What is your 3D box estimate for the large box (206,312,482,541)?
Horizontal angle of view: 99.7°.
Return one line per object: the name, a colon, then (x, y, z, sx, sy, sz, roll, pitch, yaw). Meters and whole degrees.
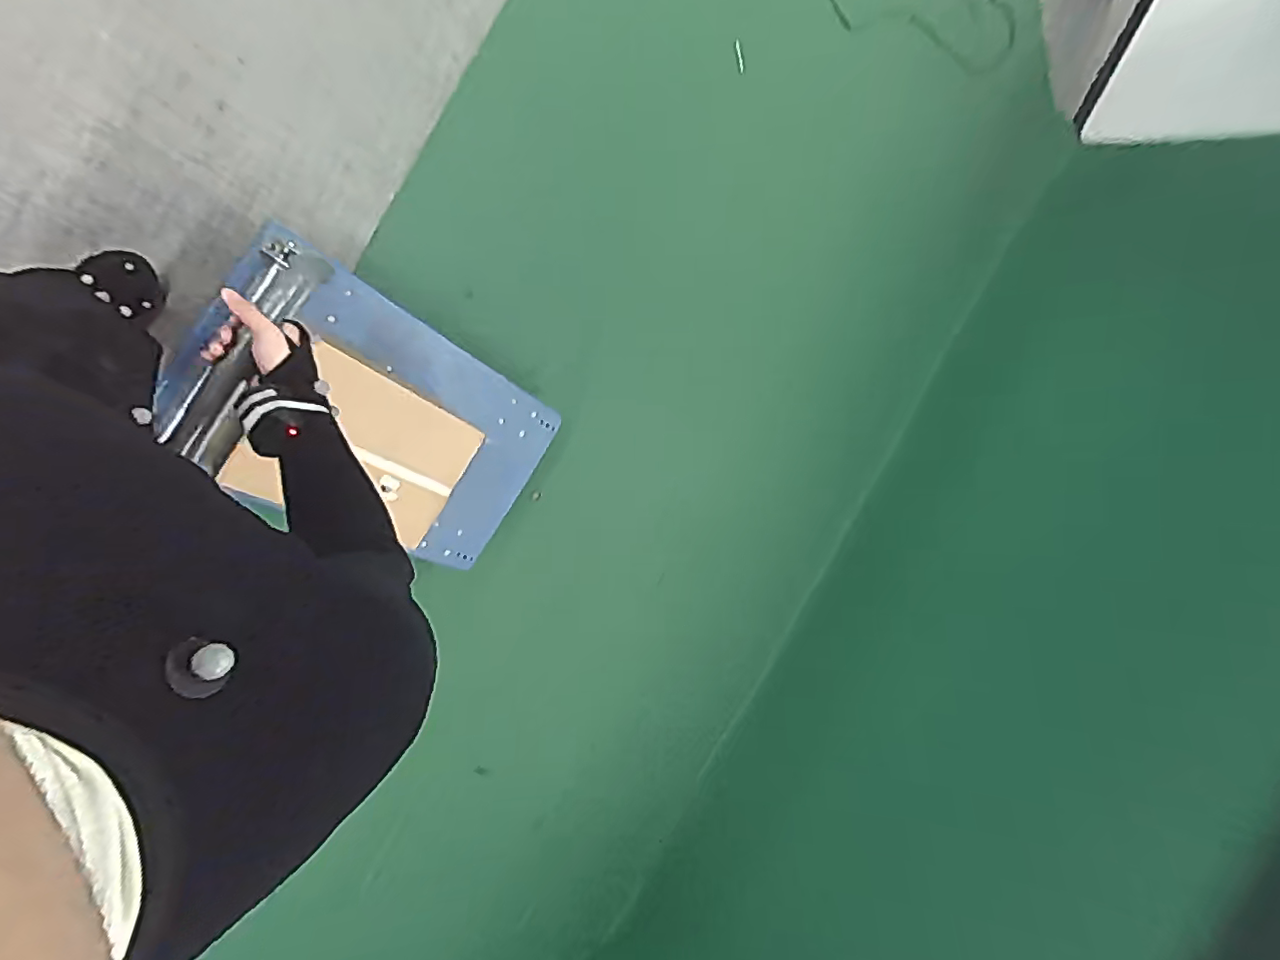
large box: (-0.650, -0.115, 1.200, 0.408, 0.320, 0.320, 34, 88, -46)
